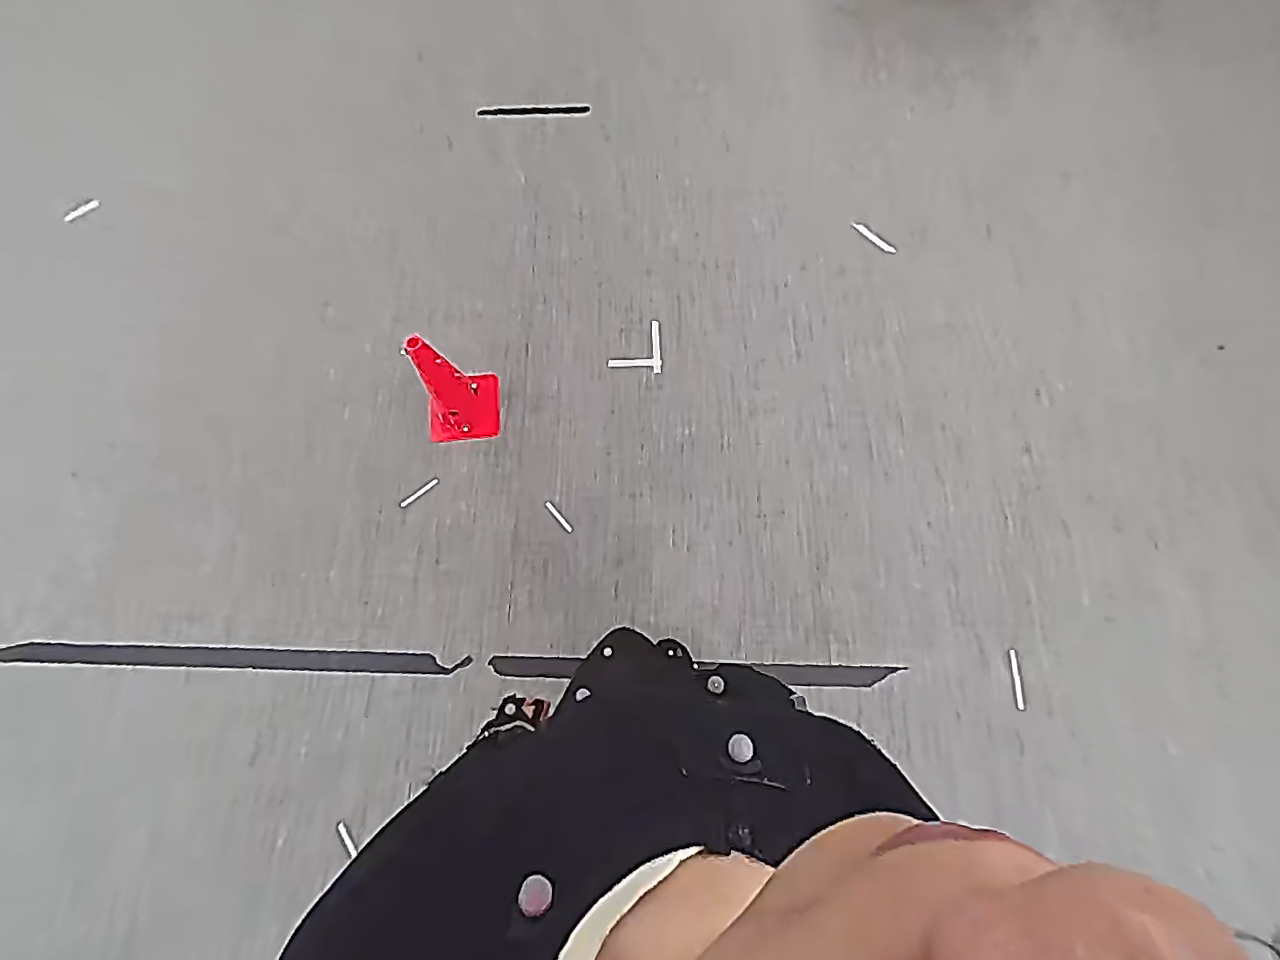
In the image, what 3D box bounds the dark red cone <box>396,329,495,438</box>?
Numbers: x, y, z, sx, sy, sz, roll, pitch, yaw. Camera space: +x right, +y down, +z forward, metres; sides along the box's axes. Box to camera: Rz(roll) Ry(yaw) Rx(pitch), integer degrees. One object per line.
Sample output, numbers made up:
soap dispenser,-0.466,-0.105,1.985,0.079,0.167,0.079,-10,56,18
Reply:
dark red cone,-0.510,-0.260,1.353,0.202,0.394,0.201,-7,74,-1
